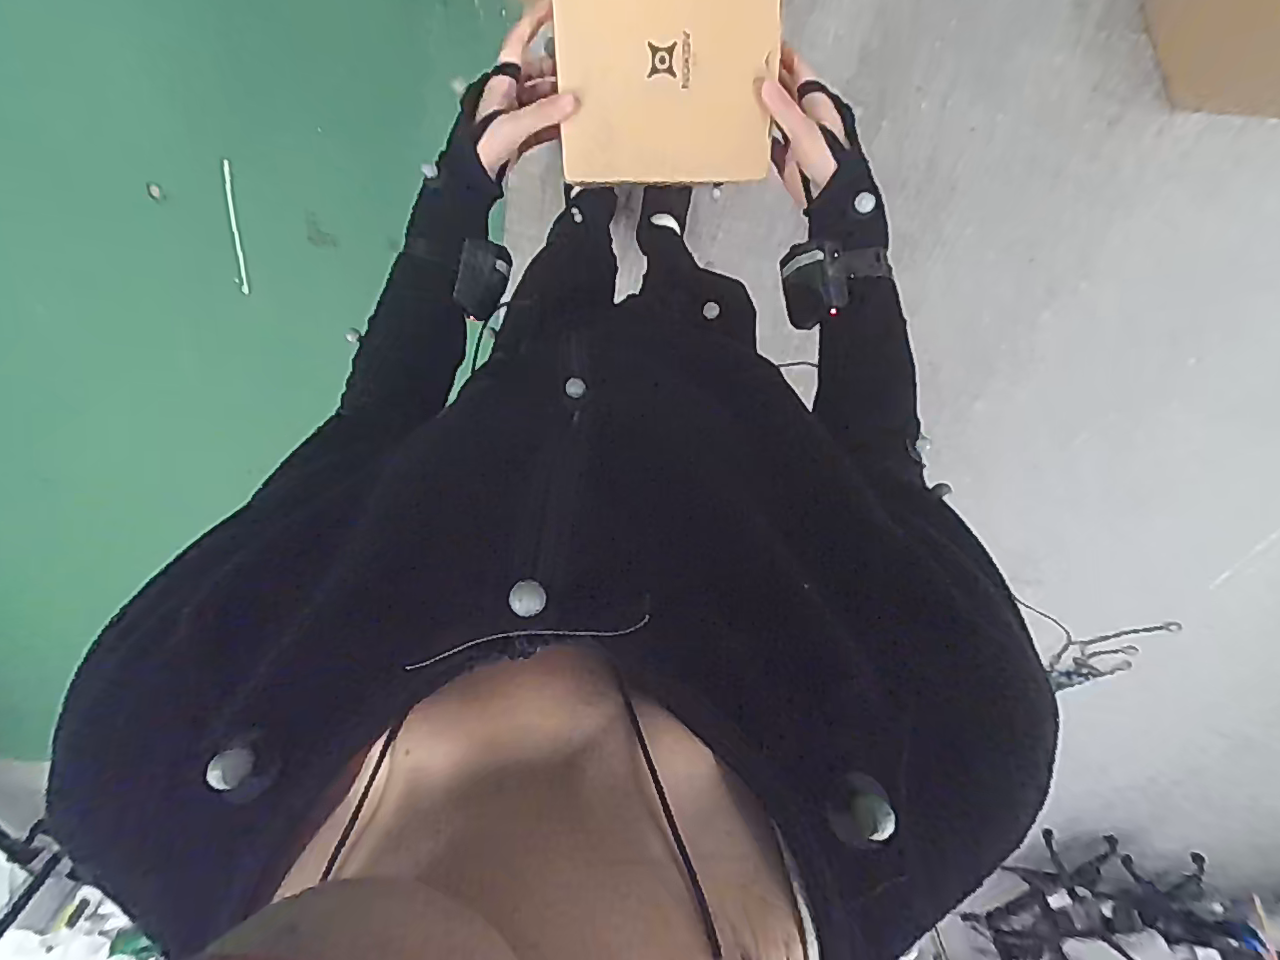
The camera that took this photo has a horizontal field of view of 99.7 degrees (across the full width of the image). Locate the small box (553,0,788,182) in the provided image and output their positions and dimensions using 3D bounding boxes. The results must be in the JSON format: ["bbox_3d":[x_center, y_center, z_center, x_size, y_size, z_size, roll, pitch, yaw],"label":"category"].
[{"bbox_3d":[0.018,-0.363,0.482,0.179,0.176,0.168,-2,117,-4],"label":"small box"}]
